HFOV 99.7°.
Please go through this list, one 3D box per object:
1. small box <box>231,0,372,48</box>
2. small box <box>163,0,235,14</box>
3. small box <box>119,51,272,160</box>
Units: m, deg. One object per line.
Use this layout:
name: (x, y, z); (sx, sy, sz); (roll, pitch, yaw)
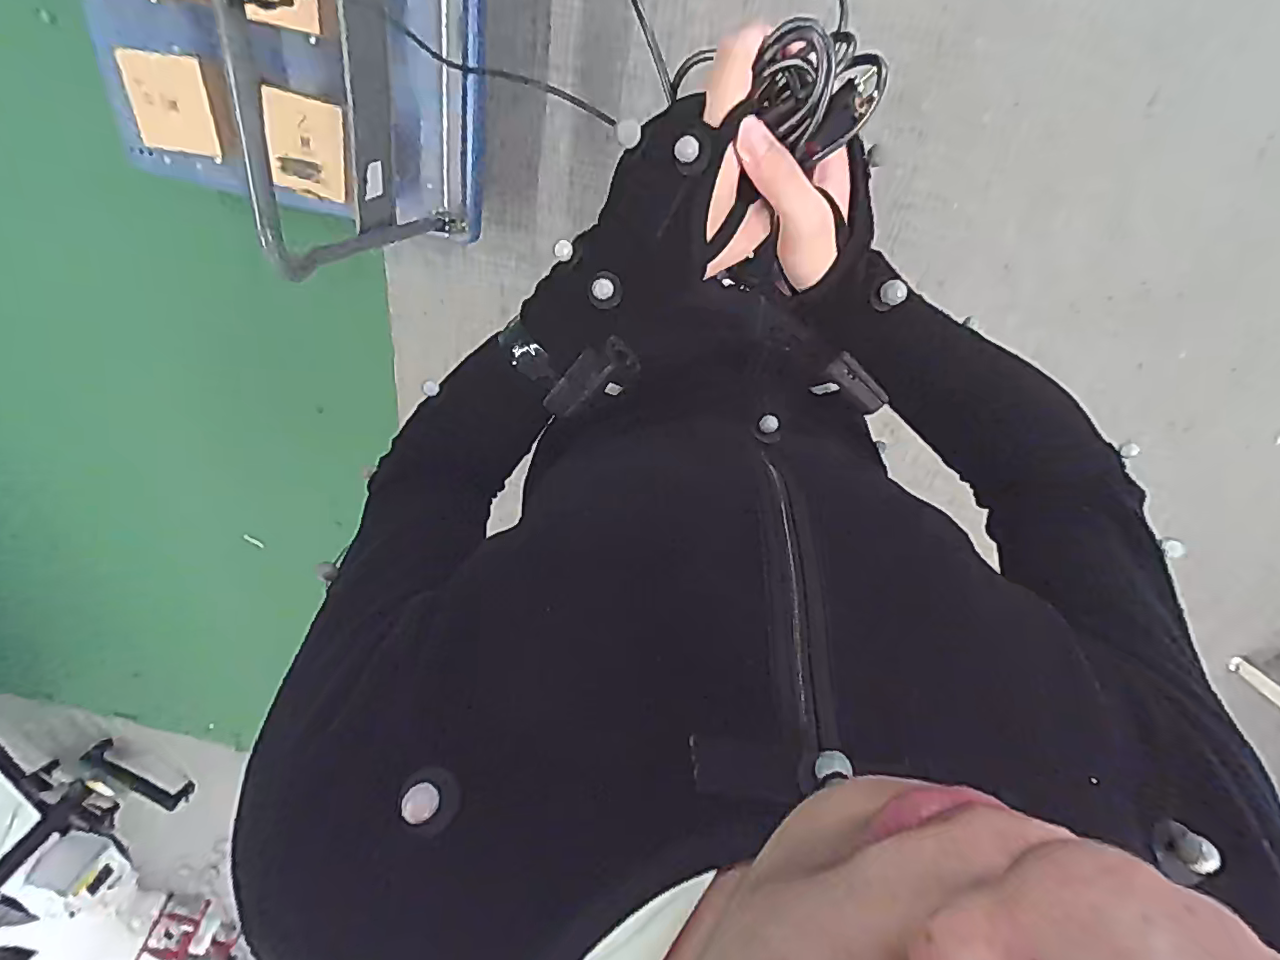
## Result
small box: (-0.636, -0.941, 1.016); (0.179, 0.176, 0.168); (13, 122, 0)
small box: (-0.892, -1.006, 1.016); (0.179, 0.176, 0.168); (11, 123, 2)
small box: (-0.927, -0.791, 1.154); (0.179, 0.176, 0.168); (10, 122, 3)
